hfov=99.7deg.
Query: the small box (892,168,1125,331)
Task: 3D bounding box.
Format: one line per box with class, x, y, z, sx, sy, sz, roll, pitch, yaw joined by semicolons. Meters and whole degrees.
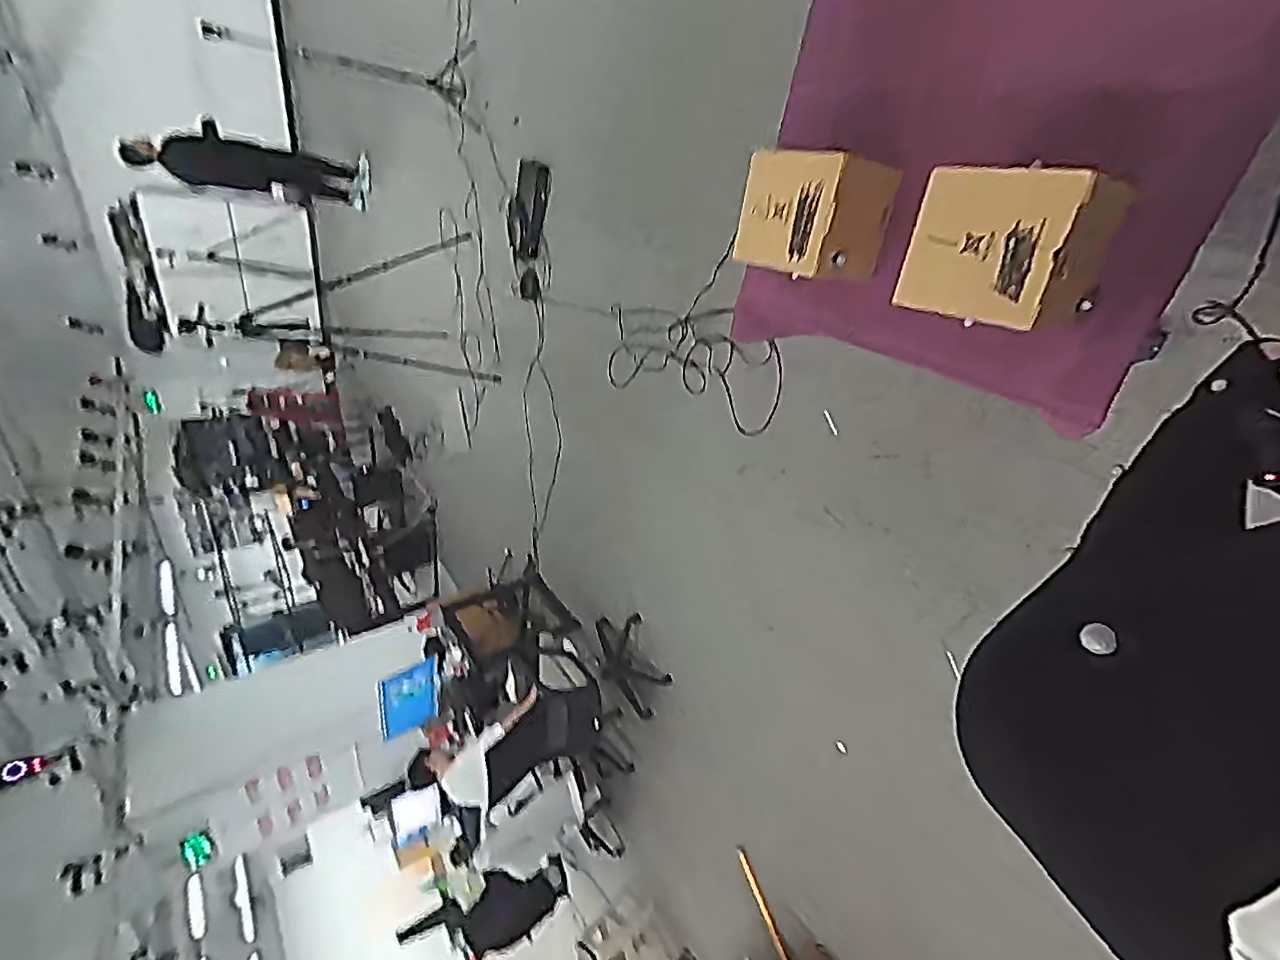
small box;0.470;-0.296;0.697;0.179;0.176;0.168;35;127;43
